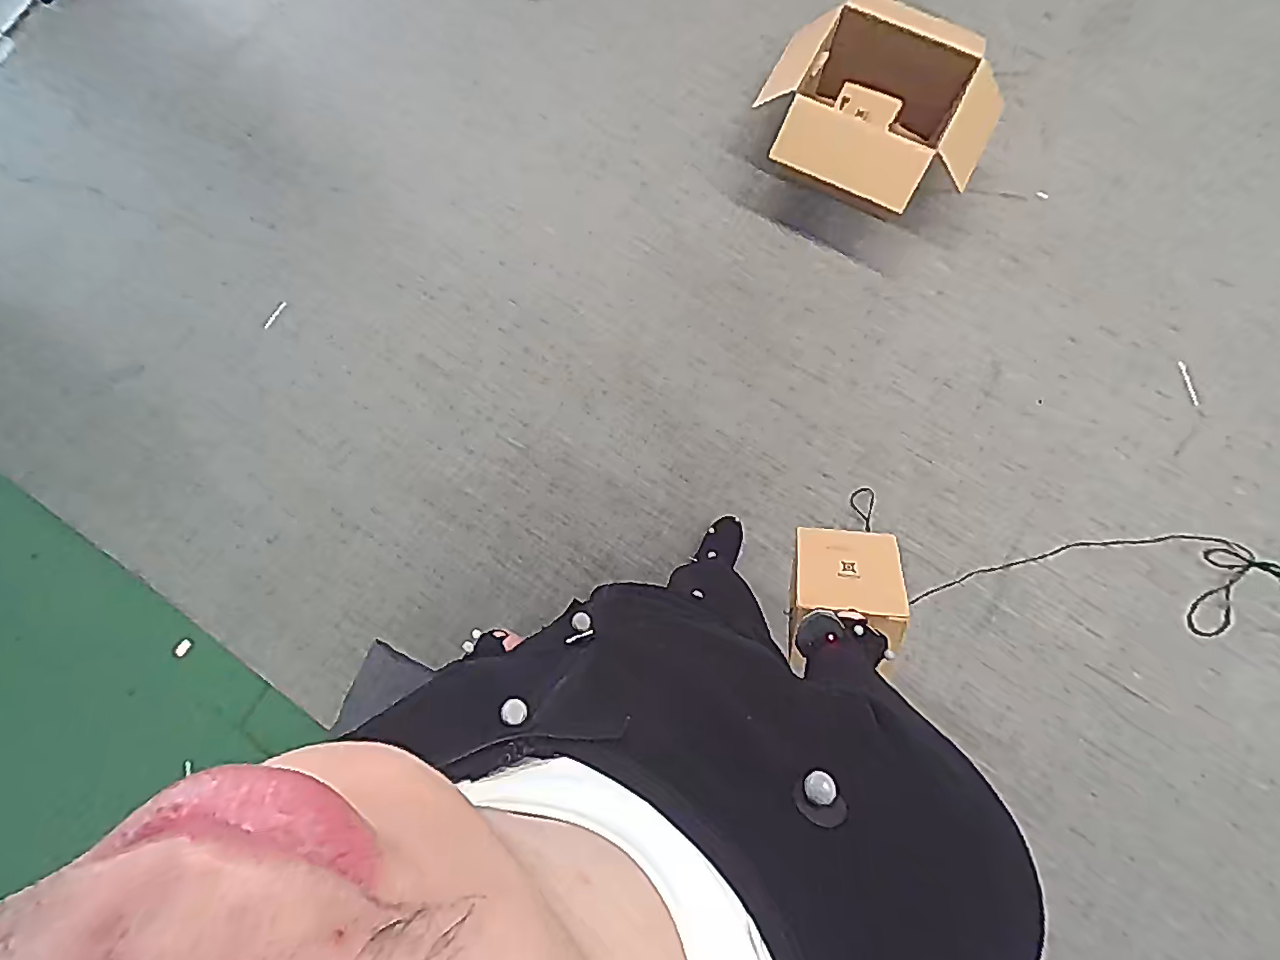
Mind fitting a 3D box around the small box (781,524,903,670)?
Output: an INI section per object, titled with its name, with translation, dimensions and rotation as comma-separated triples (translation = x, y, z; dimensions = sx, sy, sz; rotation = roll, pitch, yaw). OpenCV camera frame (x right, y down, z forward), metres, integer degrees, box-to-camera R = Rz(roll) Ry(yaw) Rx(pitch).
[small box]
translation = 0.336, 0.201, 0.930
dimensions = 0.168, 0.176, 0.179
rotation = 5, 41, 11
